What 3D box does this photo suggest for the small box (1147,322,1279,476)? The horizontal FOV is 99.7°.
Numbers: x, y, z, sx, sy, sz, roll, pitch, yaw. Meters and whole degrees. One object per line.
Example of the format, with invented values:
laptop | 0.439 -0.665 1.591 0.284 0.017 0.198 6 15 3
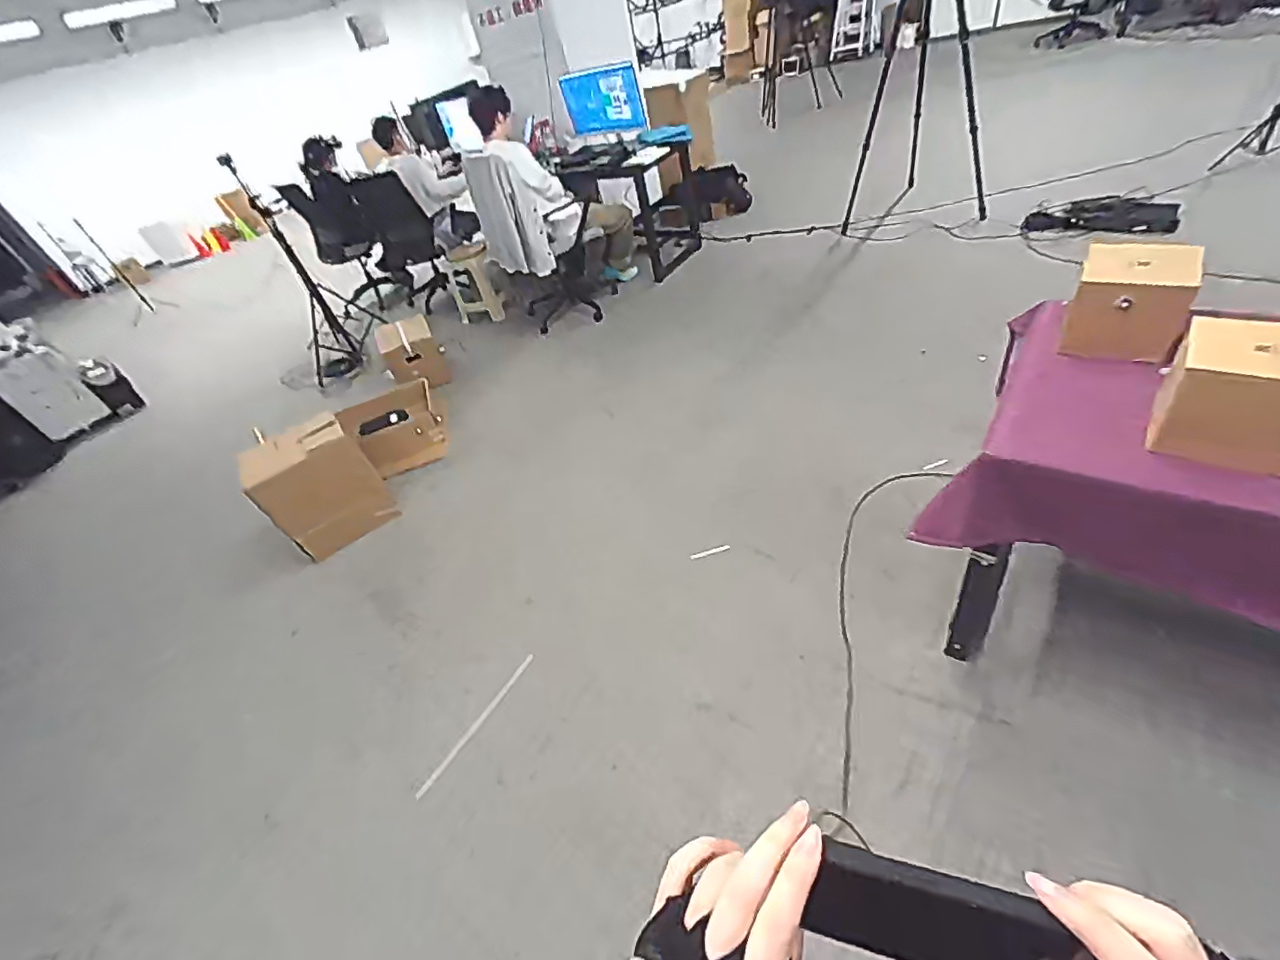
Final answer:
small box | 0.959 -0.130 0.863 0.179 0.176 0.168 21 53 34
